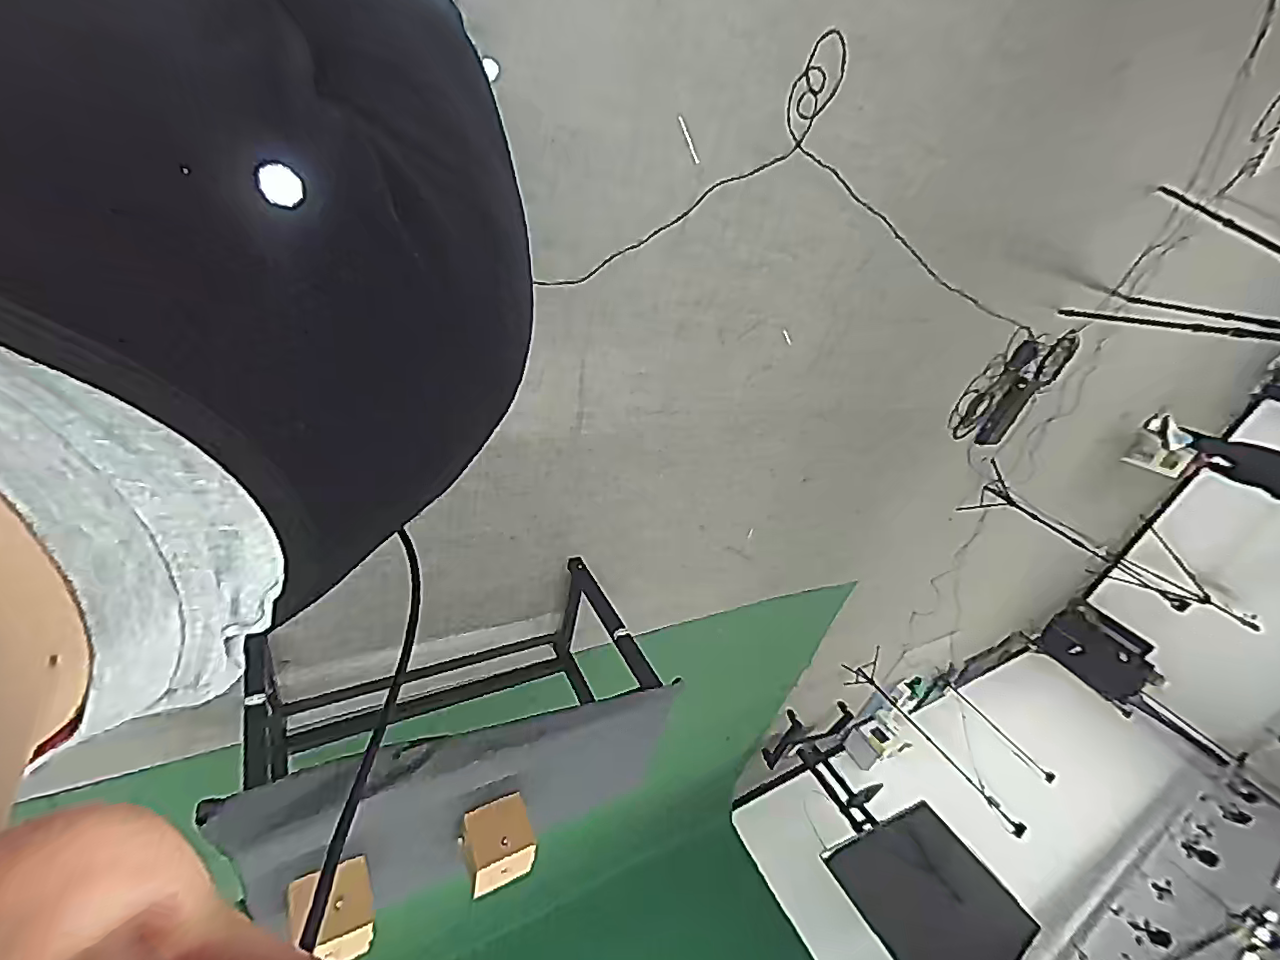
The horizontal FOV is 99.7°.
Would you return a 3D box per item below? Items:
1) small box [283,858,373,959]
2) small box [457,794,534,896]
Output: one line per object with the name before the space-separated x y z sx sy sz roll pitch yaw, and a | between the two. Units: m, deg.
small box | -0.801 1.116 1.382 0.179 0.176 0.168 -1 123 -36
small box | -0.438 1.085 1.622 0.179 0.176 0.168 -6 125 -31
